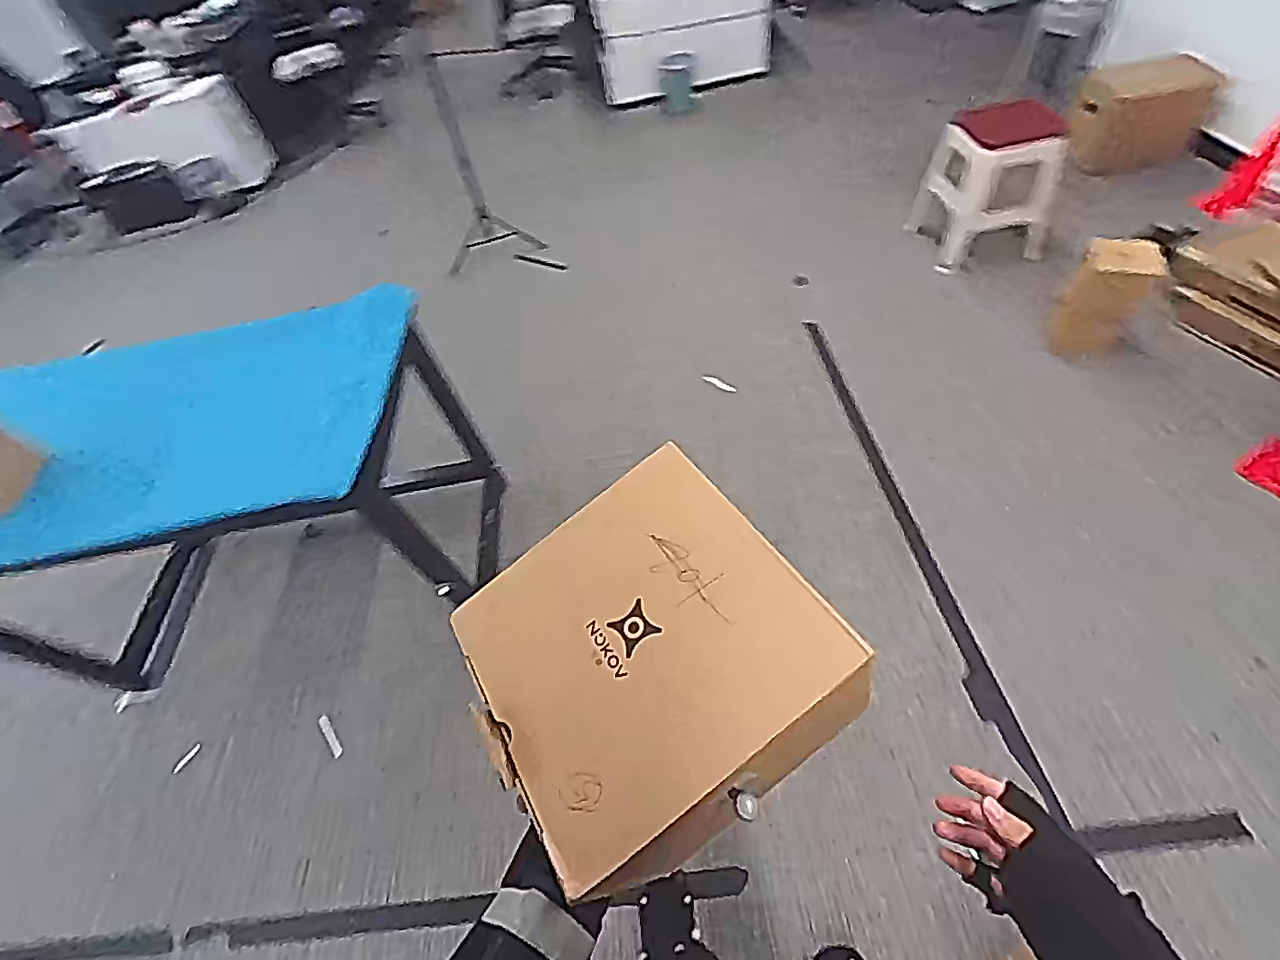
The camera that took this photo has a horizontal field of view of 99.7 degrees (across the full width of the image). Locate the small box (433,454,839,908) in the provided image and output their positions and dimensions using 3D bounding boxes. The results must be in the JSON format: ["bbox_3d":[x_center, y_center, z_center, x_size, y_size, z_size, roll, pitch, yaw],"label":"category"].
[{"bbox_3d":[0.009,0.124,0.350,0.179,0.176,0.168,-40,55,-2],"label":"small box"}]

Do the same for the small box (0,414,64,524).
[{"bbox_3d":[-1.395,-0.020,1.137,0.168,0.176,0.179,-9,55,6],"label":"small box"}]
